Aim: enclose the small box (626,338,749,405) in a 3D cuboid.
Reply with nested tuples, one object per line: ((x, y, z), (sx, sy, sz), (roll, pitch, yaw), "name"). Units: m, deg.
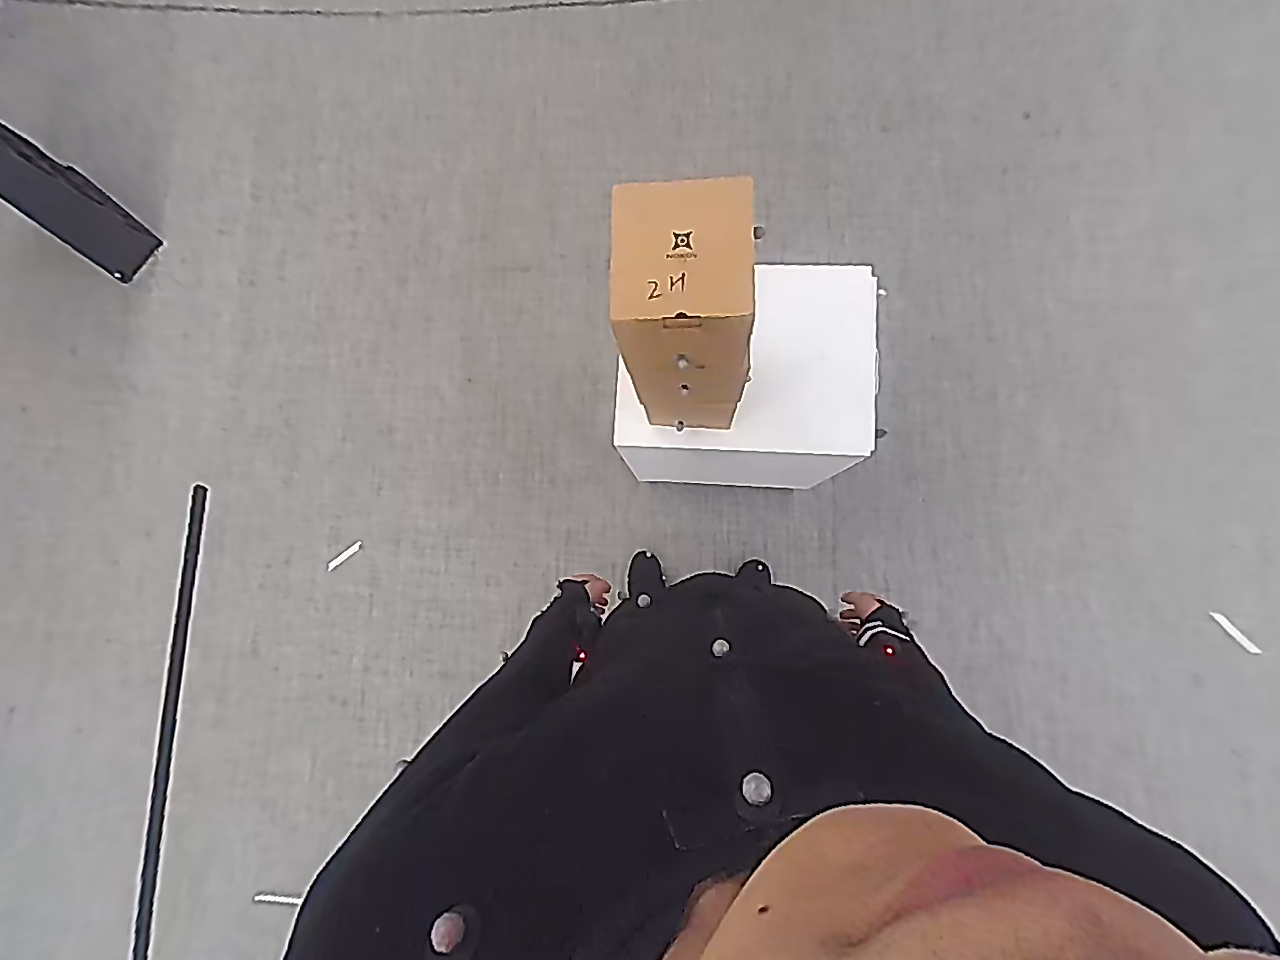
((0.075, -0.220, 0.856), (0.179, 0.176, 0.168), (-1, 81, 6), "small box")

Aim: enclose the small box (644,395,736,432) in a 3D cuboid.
((0.094, -0.198, 1.018), (0.168, 0.176, 0.179), (4, 82, 5), "small box")

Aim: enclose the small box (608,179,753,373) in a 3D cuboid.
((0.054, -0.250, 0.696), (0.168, 0.176, 0.179), (0, 81, 6), "small box")
